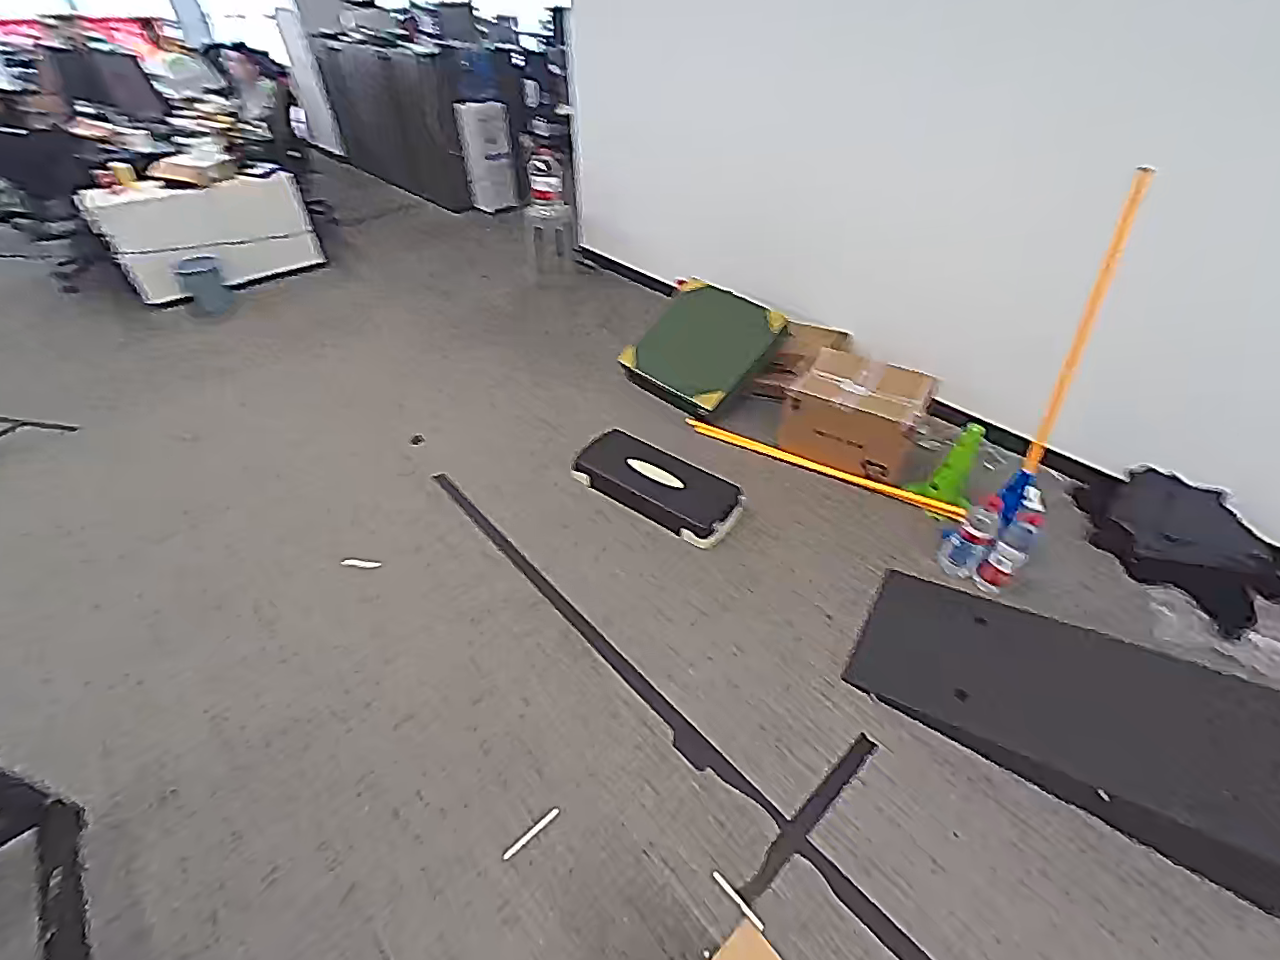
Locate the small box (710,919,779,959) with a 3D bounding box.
[{"bbox_3d":[0.165,0.880,0.883,0.179,0.176,0.168,-28,51,-30],"label":"small box"}]
